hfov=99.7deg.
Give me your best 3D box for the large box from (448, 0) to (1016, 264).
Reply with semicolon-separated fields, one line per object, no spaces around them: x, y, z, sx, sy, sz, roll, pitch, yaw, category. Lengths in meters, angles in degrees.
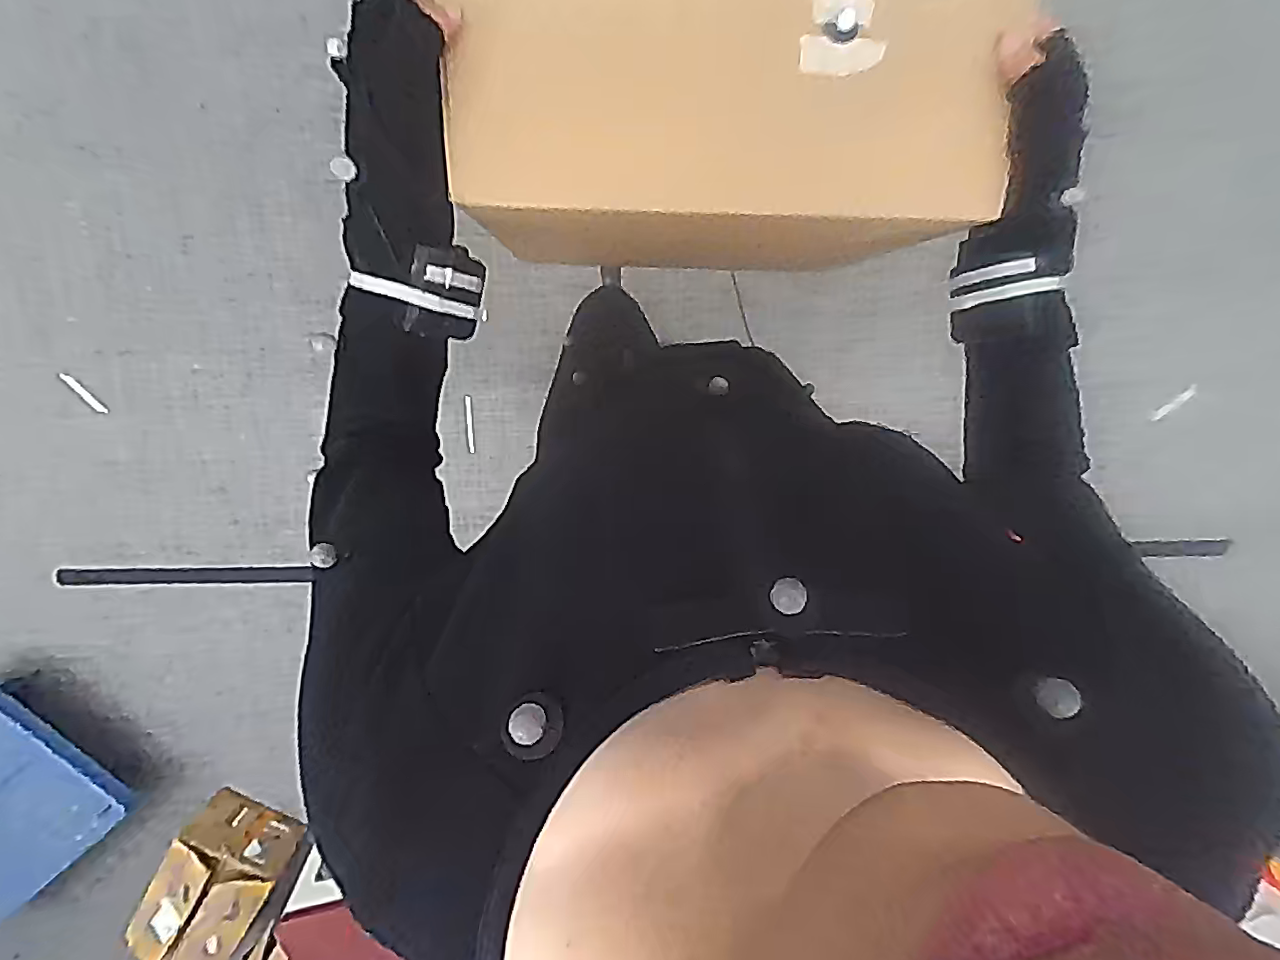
0.057;-0.392;0.509;0.408;0.320;0.320;0;104;-4;large box
